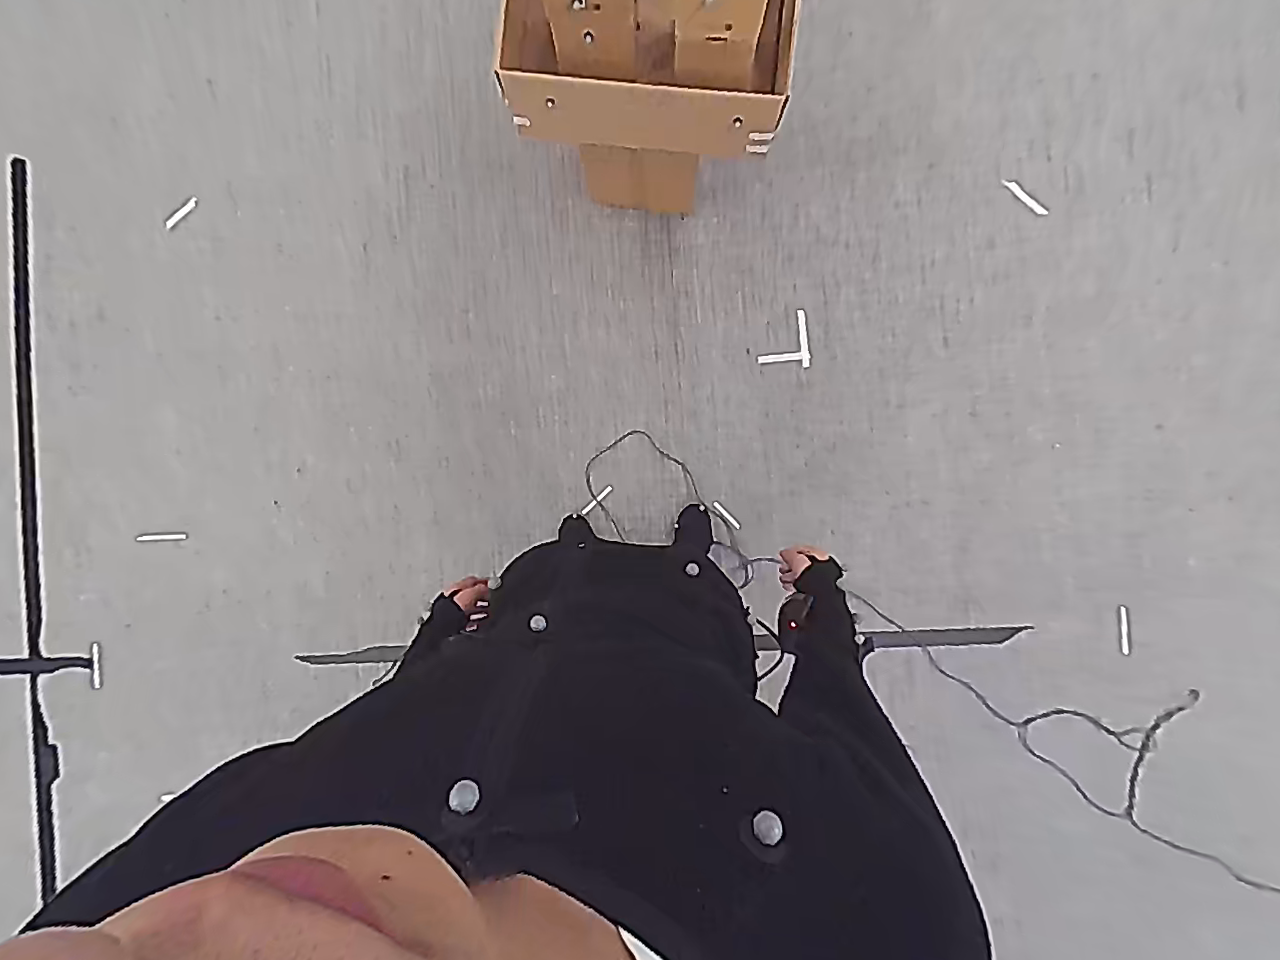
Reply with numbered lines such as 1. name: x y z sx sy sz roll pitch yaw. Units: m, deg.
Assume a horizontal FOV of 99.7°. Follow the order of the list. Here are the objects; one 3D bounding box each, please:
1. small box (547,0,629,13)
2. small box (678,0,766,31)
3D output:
1. small box: -0.105 -1.012 0.989 0.168 0.176 0.179 0 88 2
2. small box: 0.157 -0.966 0.982 0.168 0.176 0.179 4 88 2
